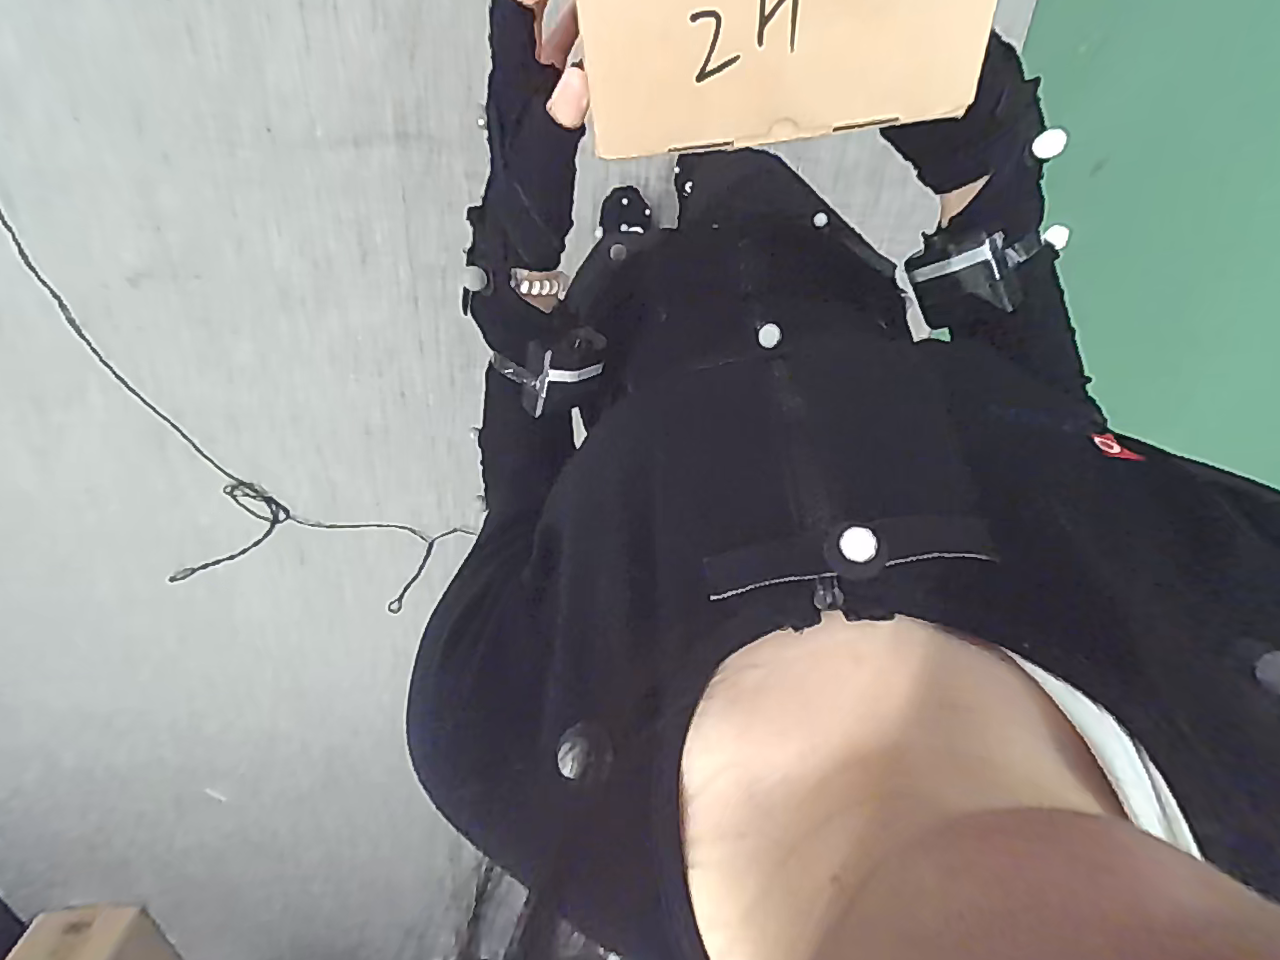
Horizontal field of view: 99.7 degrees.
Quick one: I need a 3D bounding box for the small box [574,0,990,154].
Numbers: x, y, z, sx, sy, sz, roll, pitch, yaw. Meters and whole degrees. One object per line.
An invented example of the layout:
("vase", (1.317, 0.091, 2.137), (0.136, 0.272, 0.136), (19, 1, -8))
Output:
("small box", (0.047, -0.270, 0.248), (0.168, 0.176, 0.179), (-7, 129, 1))
